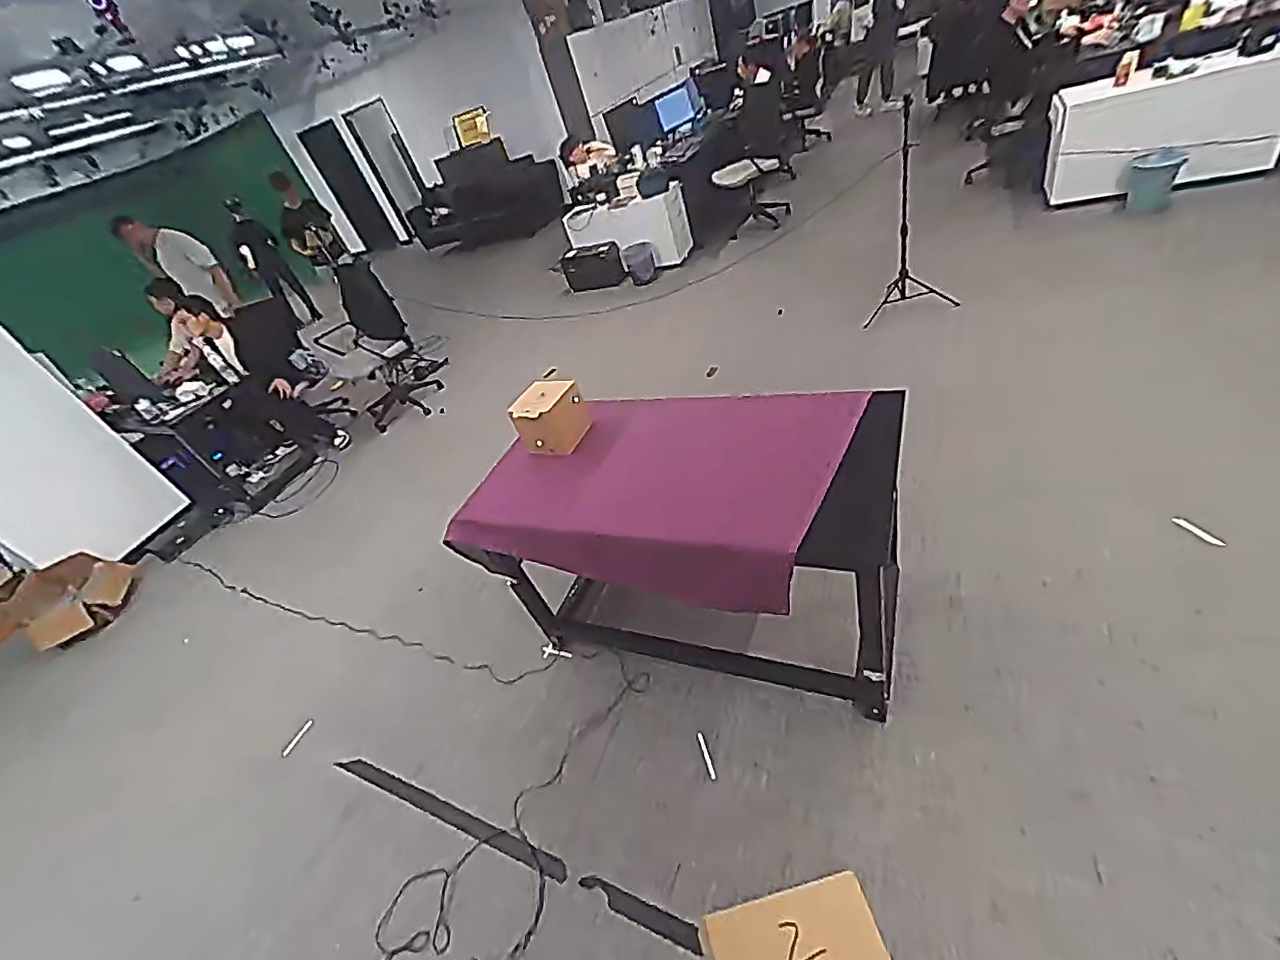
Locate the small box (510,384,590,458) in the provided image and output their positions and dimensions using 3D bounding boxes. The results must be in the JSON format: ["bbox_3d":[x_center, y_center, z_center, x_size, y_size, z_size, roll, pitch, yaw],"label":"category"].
[{"bbox_3d":[-0.281,-0.191,1.743,0.168,0.176,0.179,4,45,30],"label":"small box"}]
